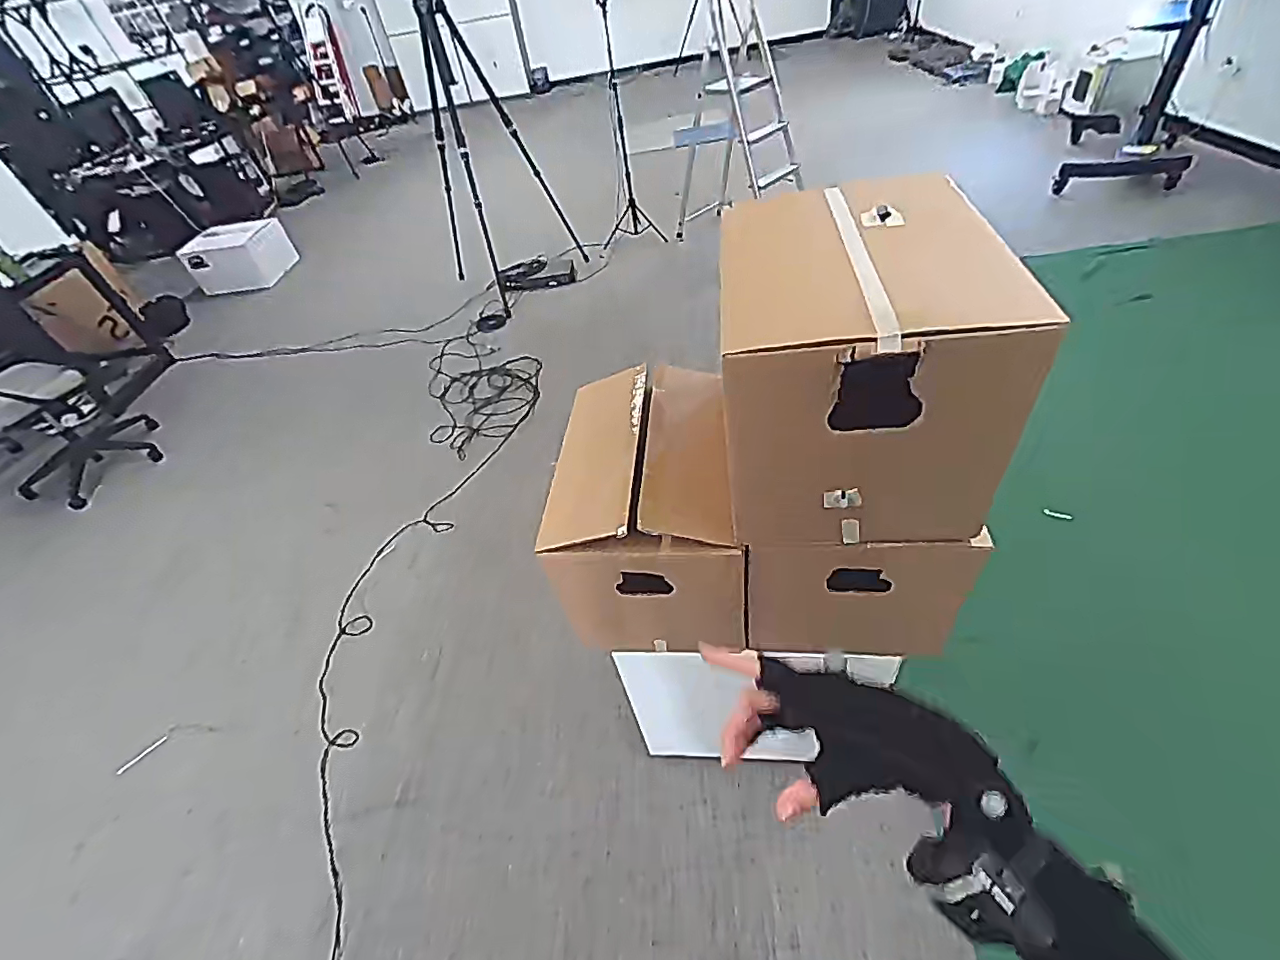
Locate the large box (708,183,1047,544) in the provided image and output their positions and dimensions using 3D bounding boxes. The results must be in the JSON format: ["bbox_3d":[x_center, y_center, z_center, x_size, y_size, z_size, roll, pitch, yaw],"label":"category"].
[{"bbox_3d":[0.268,-0.163,0.754,0.320,0.320,0.408,-3,44,12],"label":"large box"}]
